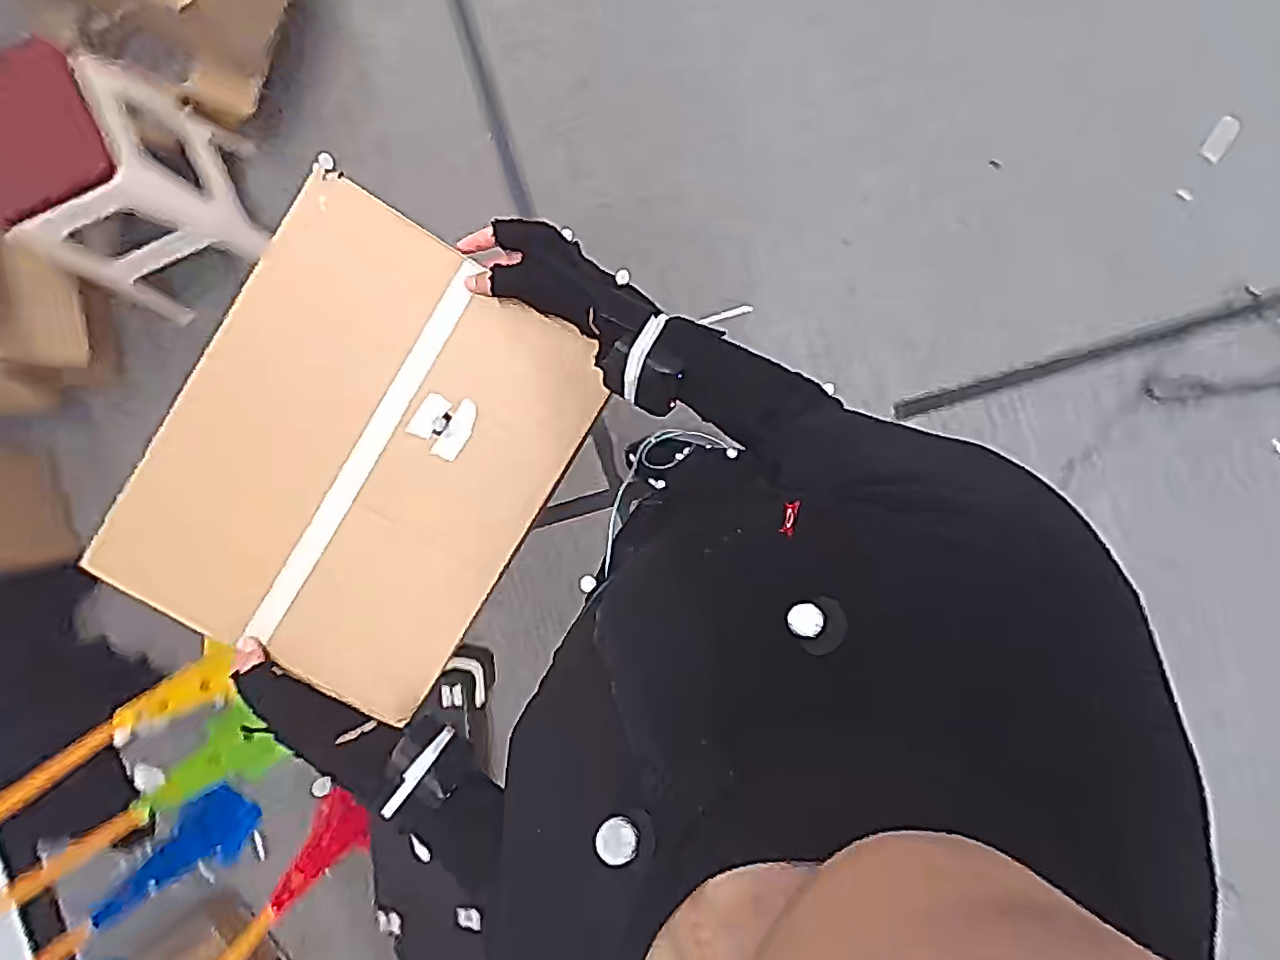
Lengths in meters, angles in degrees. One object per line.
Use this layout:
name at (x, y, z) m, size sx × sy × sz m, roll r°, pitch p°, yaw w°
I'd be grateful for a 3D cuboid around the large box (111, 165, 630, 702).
large box at (-0.255, -0.041, 0.641) m, size 0.320 × 0.320 × 0.408 m, roll 33°, pitch 90°, yaw -8°
